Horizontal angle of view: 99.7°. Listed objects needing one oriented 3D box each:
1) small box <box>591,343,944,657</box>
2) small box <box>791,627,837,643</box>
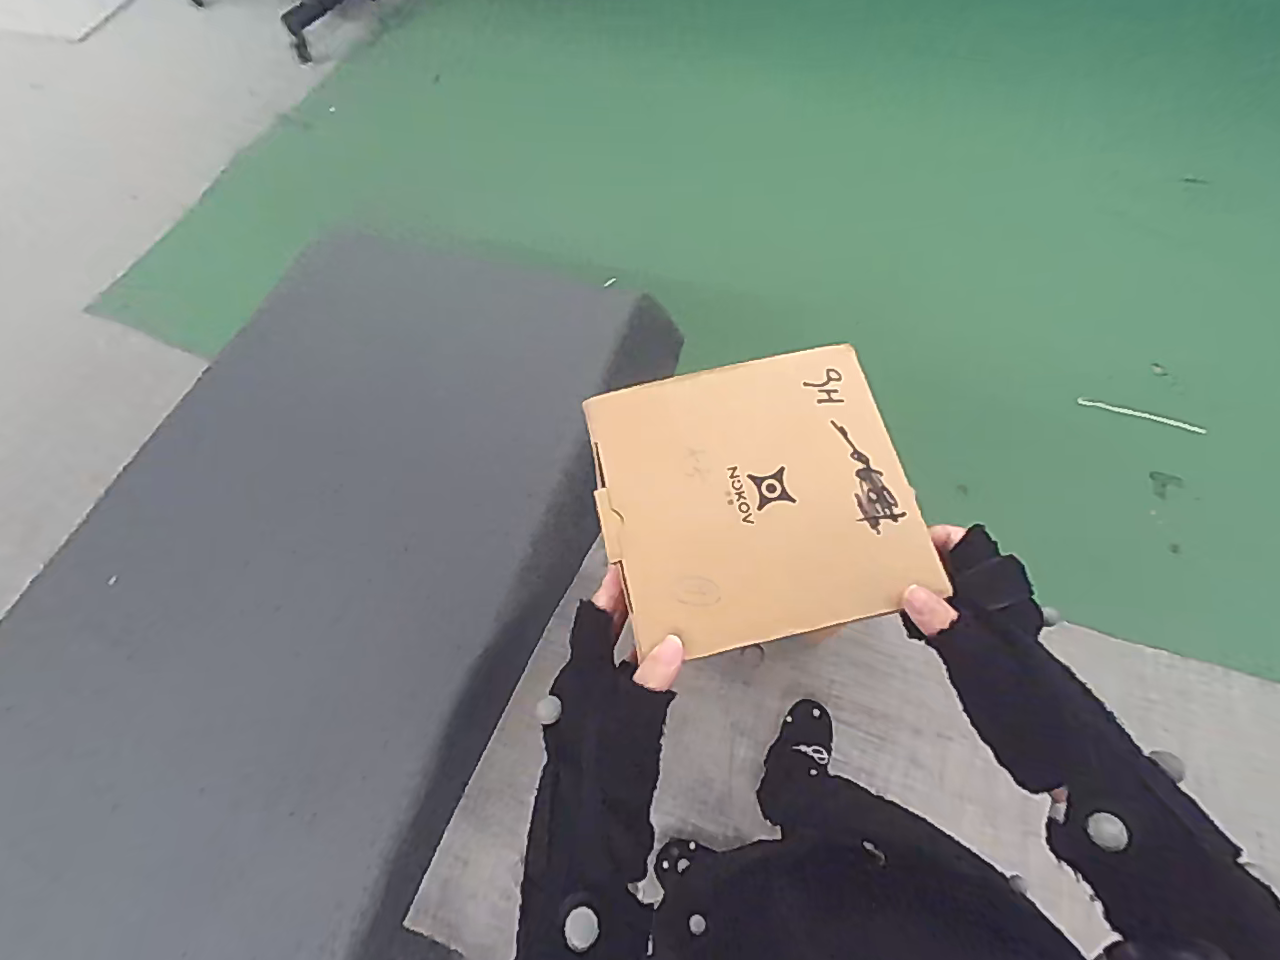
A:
[{"bbox_3d":[0.071,0.029,0.393,0.179,0.176,0.168,-11,71,-2],"label":"small box"},{"bbox_3d":[0.386,0.267,1.282,0.168,0.176,0.179,19,68,14],"label":"small box"}]
